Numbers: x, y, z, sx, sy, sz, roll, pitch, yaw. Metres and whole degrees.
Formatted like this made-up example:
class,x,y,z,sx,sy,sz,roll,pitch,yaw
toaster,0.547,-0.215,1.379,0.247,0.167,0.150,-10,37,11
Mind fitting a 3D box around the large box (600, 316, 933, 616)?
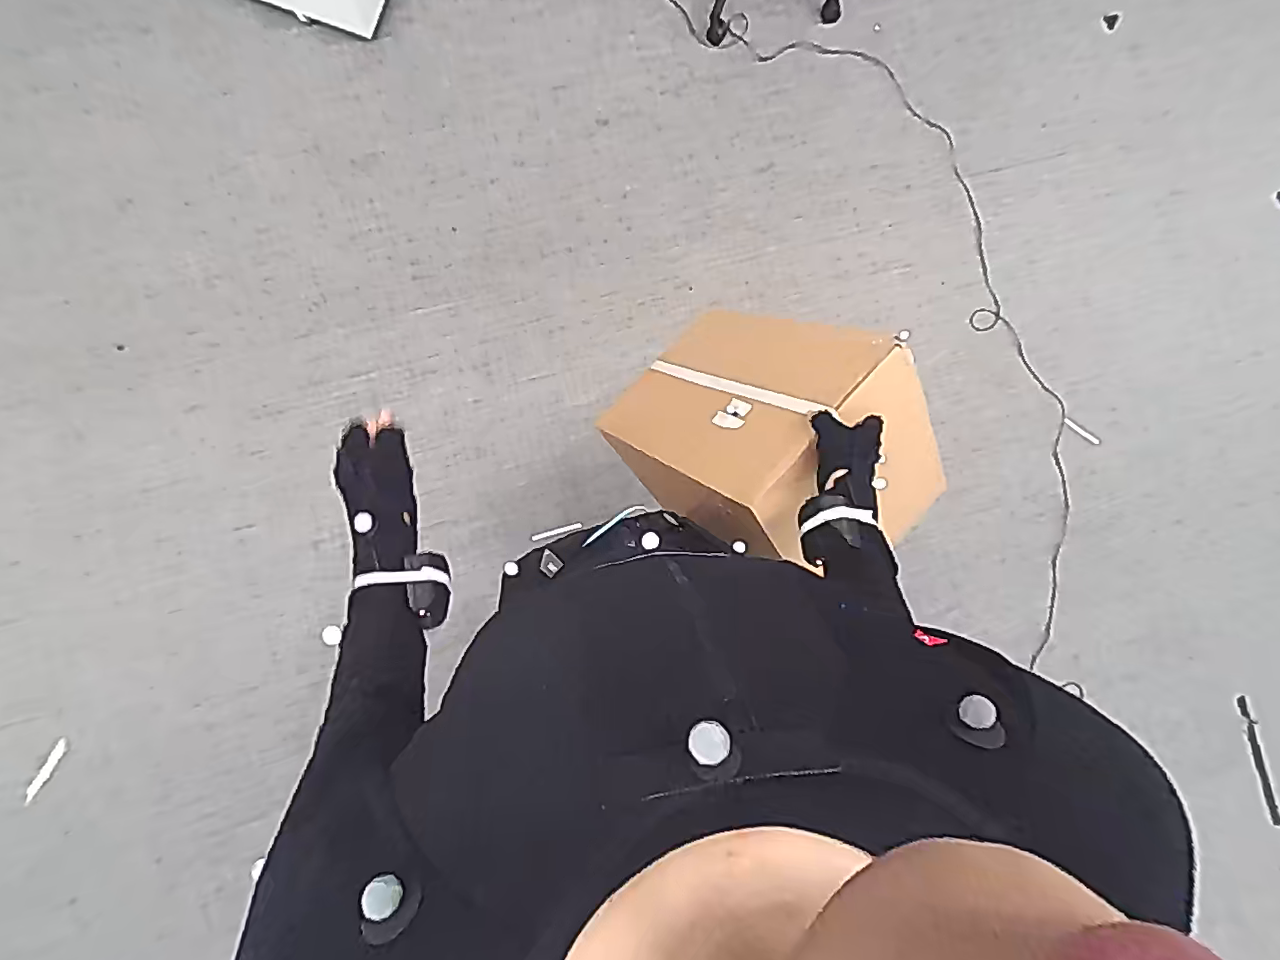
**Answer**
class,x,y,z,sx,sy,sz,roll,pitch,yaw
large box,0.208,-0.046,0.930,0.320,0.408,0.320,-46,128,-9
